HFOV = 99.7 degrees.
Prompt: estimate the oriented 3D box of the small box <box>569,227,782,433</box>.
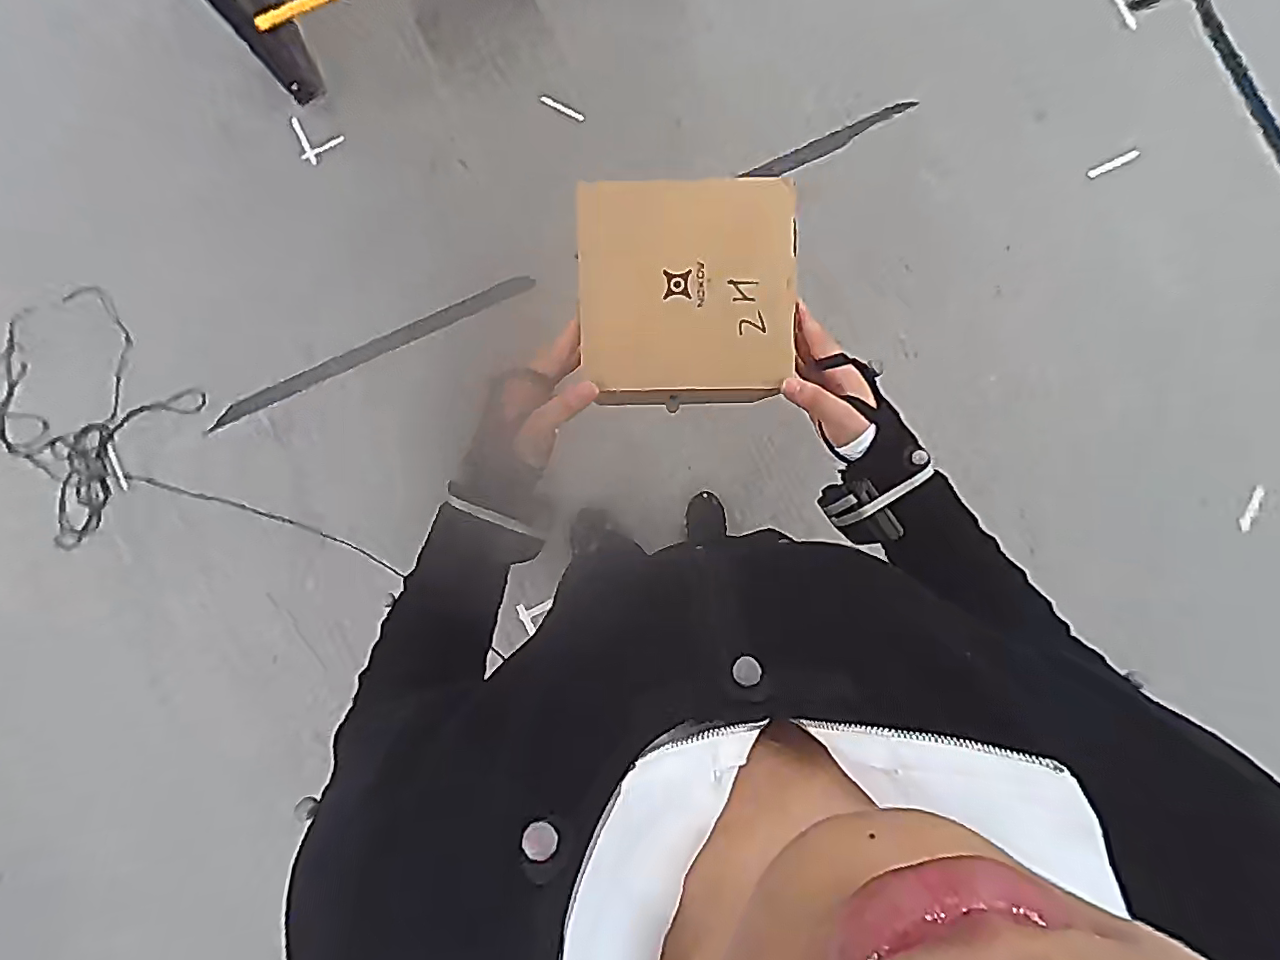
[{"bbox_3d":[0.030,-0.130,0.526,0.179,0.176,0.168,0,95,0],"label":"small box"}]
